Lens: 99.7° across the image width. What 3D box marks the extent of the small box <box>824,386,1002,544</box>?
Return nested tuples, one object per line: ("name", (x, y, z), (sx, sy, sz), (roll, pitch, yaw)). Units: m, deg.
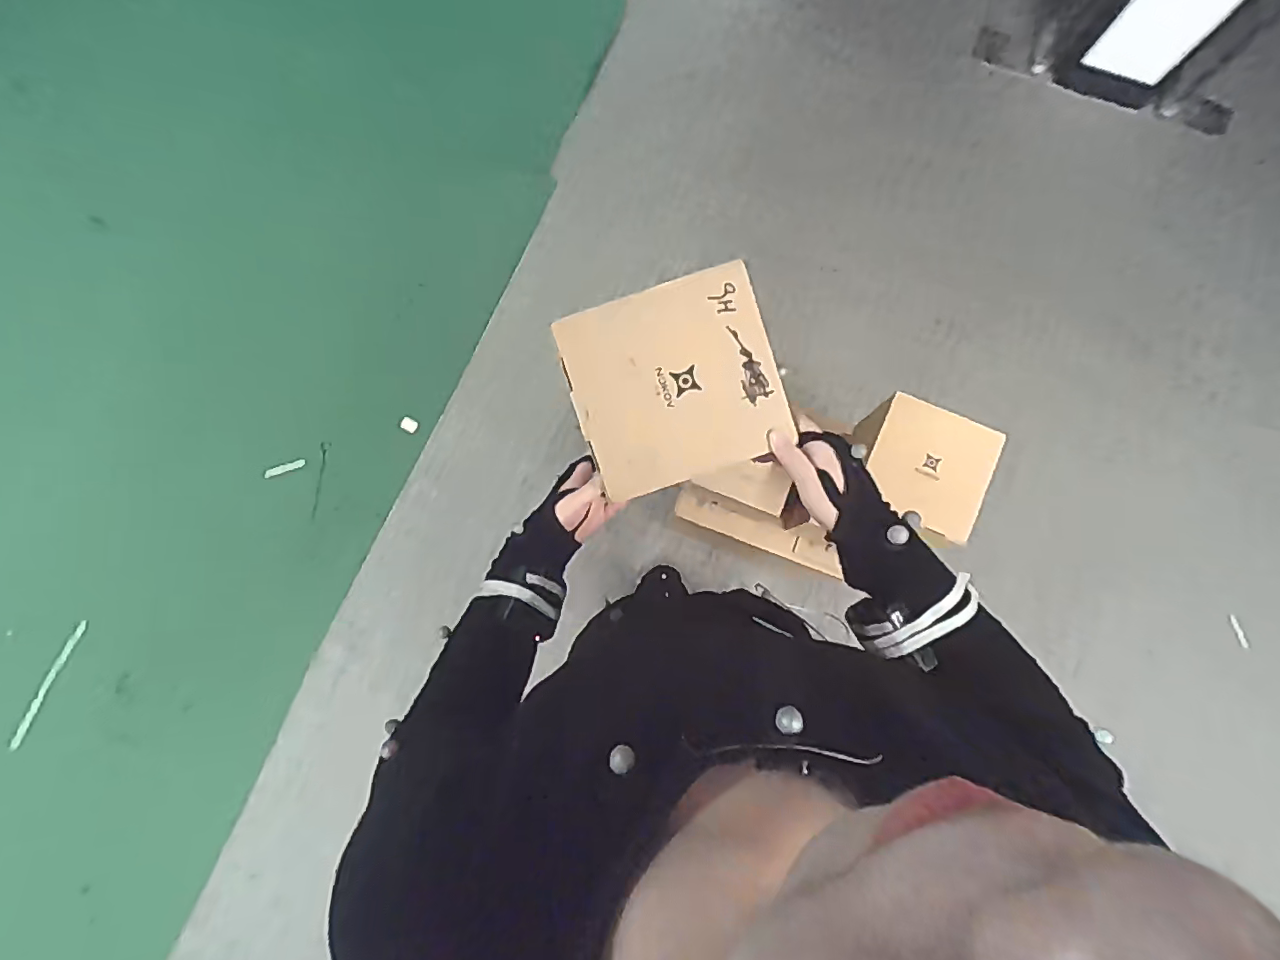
("small box", (0.411, -0.014, 0.846), (0.168, 0.176, 0.179), (25, 81, 6))
